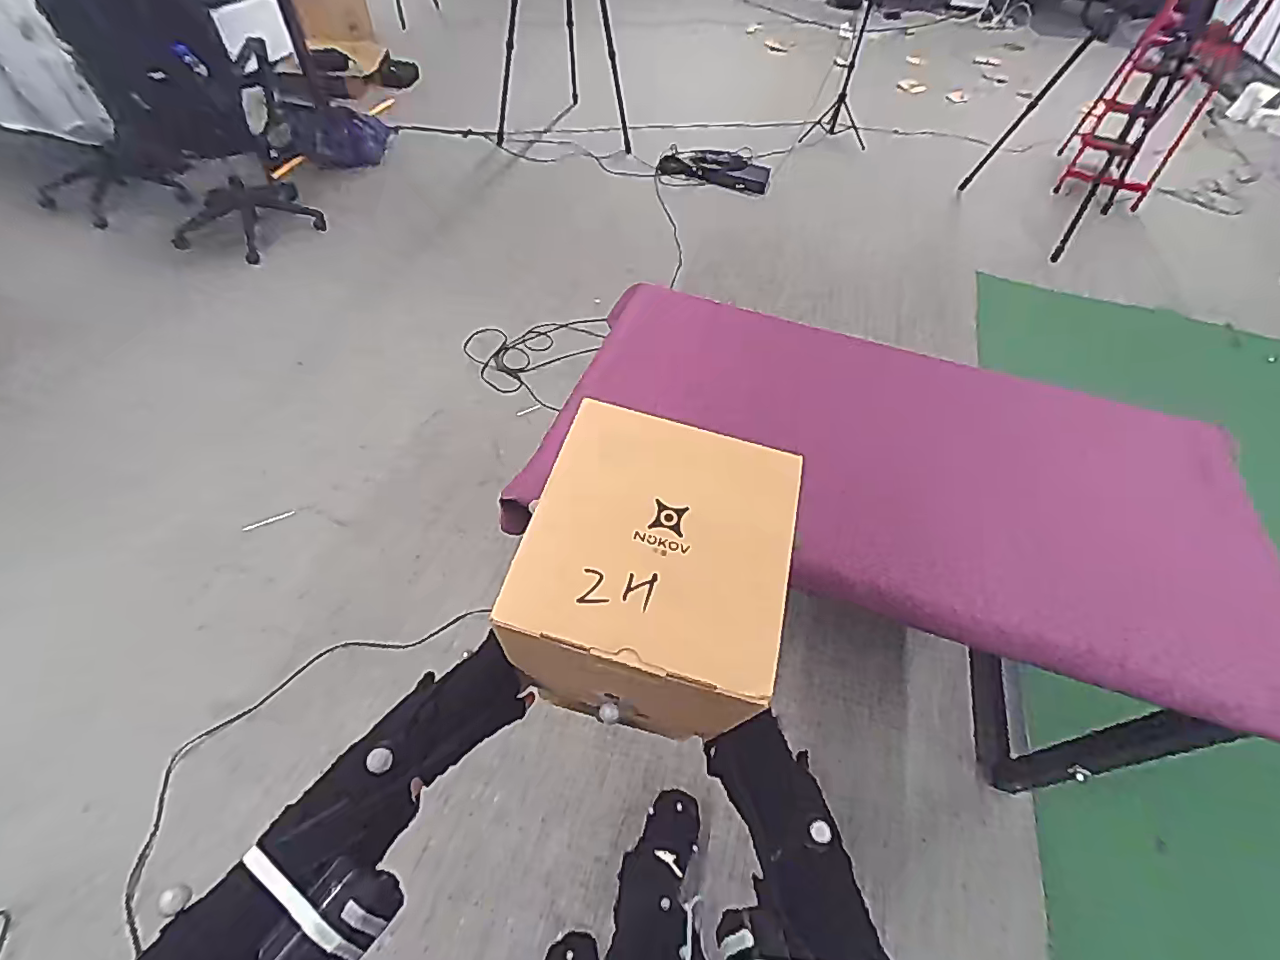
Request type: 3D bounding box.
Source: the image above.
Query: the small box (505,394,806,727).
[{"bbox_3d":[0.012,0.069,0.417,0.168,0.176,0.179,16,59,4],"label":"small box"}]
